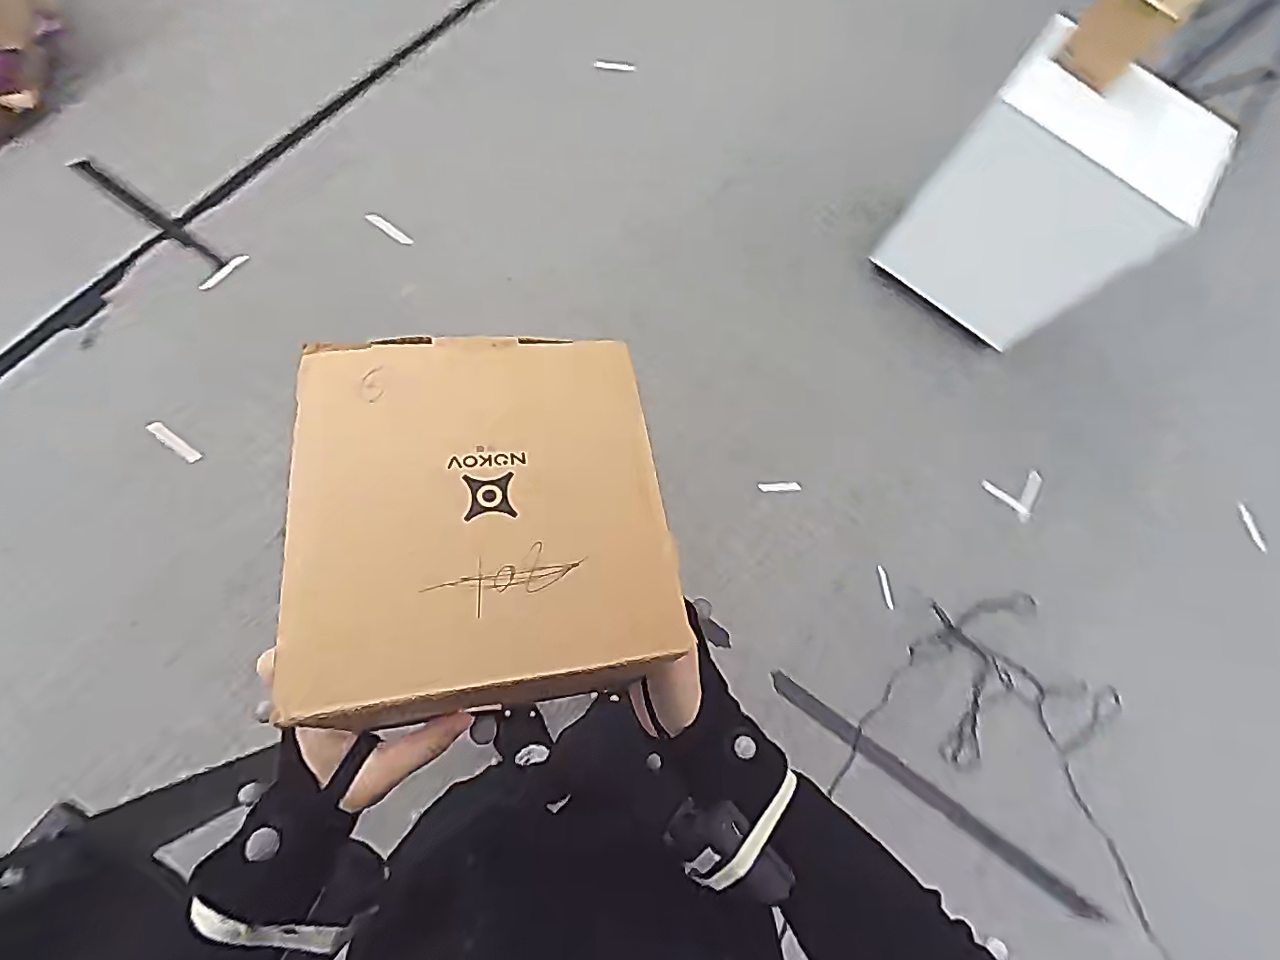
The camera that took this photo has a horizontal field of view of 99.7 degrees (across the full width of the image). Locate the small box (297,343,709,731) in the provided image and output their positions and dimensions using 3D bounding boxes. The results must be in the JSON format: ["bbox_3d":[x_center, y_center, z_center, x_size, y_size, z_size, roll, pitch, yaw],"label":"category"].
[{"bbox_3d":[-0.079,0.040,0.322,0.168,0.176,0.179,-5,66,-15],"label":"small box"}]

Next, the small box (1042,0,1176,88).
[{"bbox_3d":[1.084,-1.064,1.251,0.168,0.176,0.179,38,72,3],"label":"small box"}]
